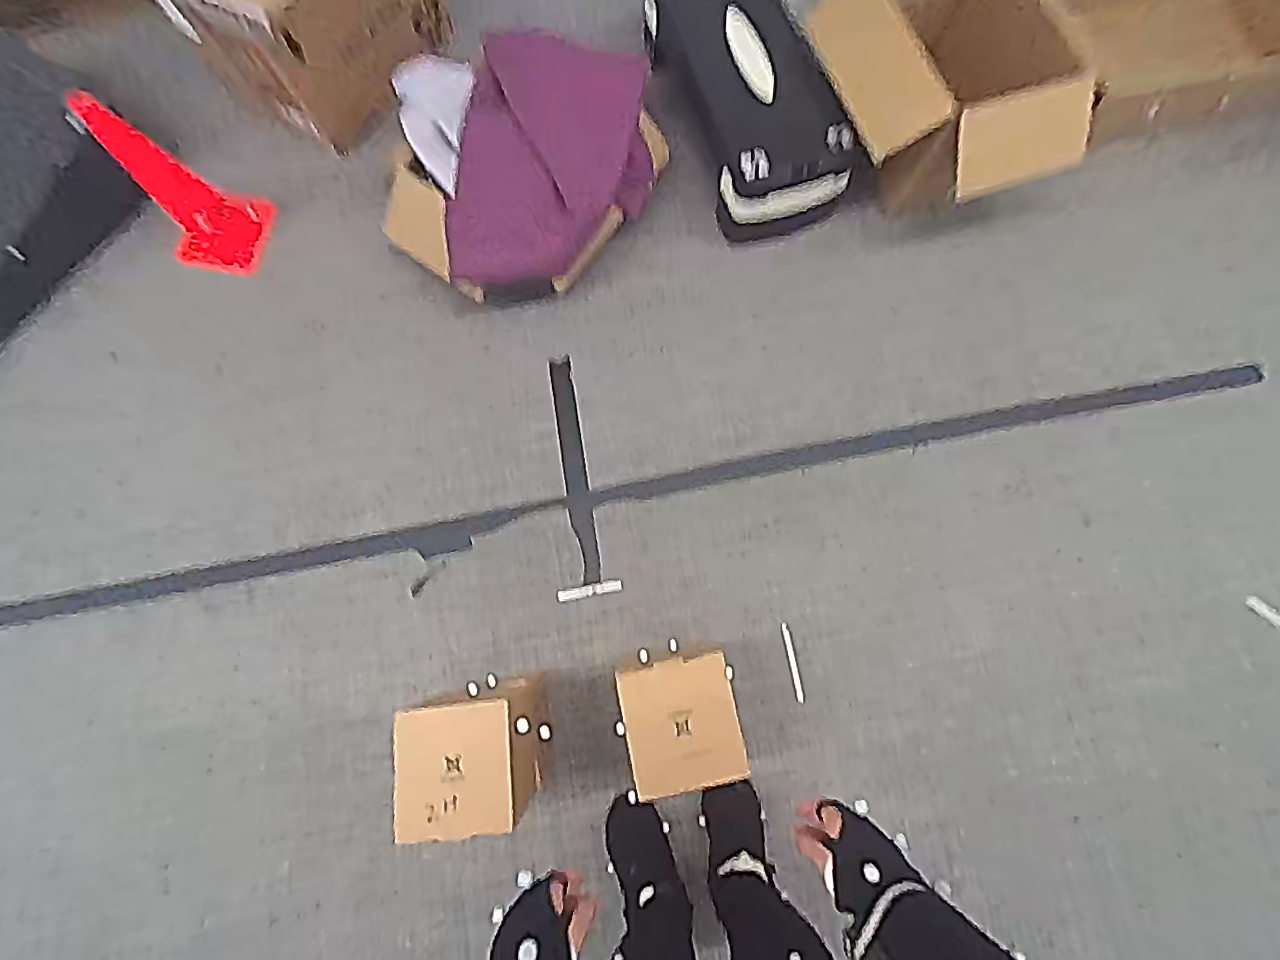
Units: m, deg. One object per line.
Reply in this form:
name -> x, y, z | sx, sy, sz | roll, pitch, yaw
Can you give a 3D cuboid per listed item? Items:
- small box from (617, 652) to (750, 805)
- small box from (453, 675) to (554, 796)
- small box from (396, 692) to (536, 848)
small box -> 0.061, 0.378, 0.860 | 0.168, 0.176, 0.179 | -12, 78, -1
small box -> -0.263, 0.477, 1.003 | 0.168, 0.176, 0.179 | -11, 78, -2
small box -> -0.262, 0.436, 0.842 | 0.168, 0.176, 0.179 | -6, 77, -1
